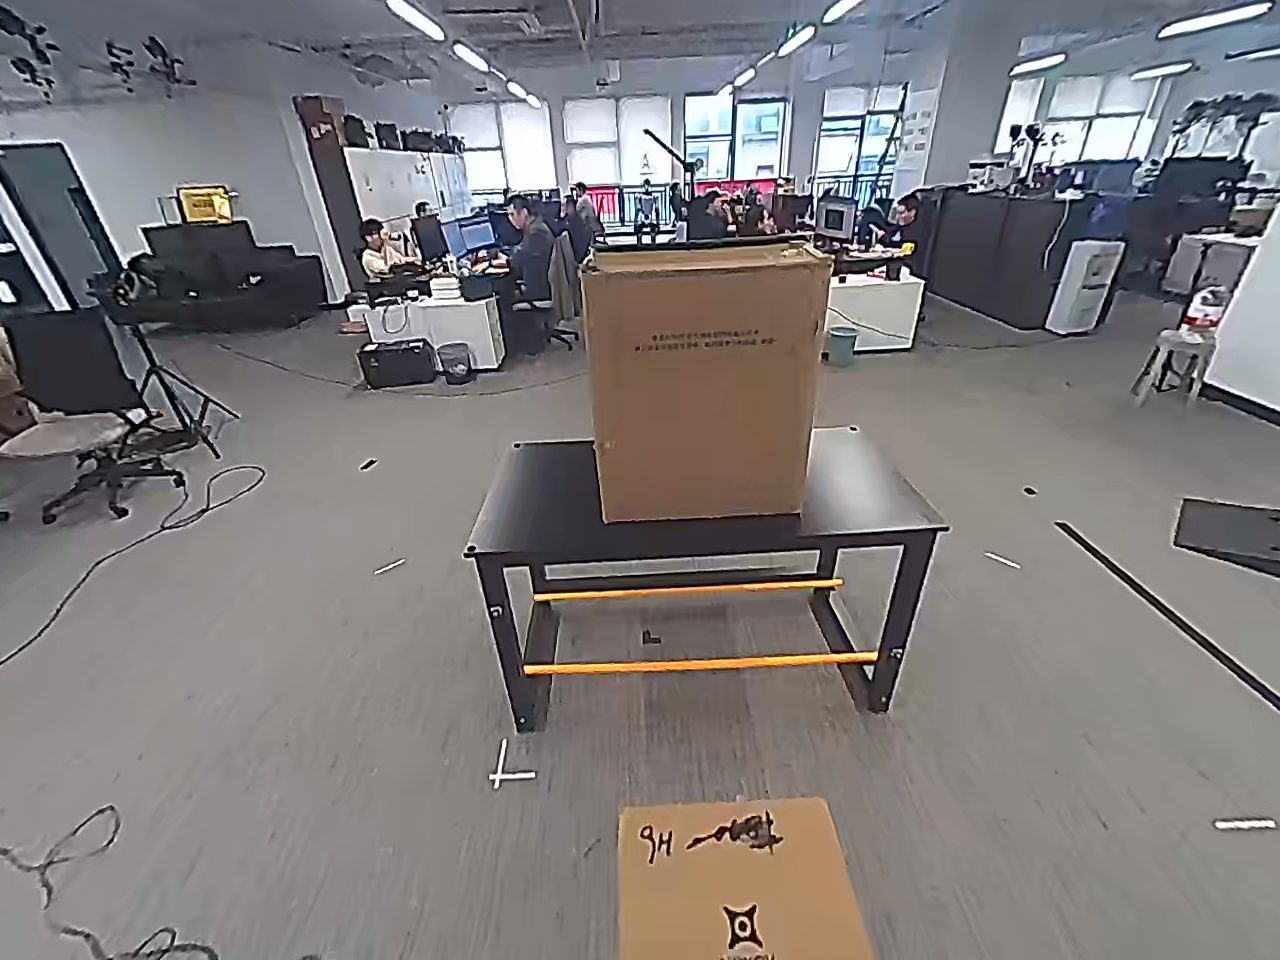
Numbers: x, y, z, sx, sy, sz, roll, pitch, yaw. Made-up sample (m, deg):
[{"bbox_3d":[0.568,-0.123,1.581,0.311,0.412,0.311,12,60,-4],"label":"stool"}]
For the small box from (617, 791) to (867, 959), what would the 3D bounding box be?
[{"bbox_3d":[0.069,0.367,0.413,0.168,0.176,0.179,-2,38,-1],"label":"small box"}]
